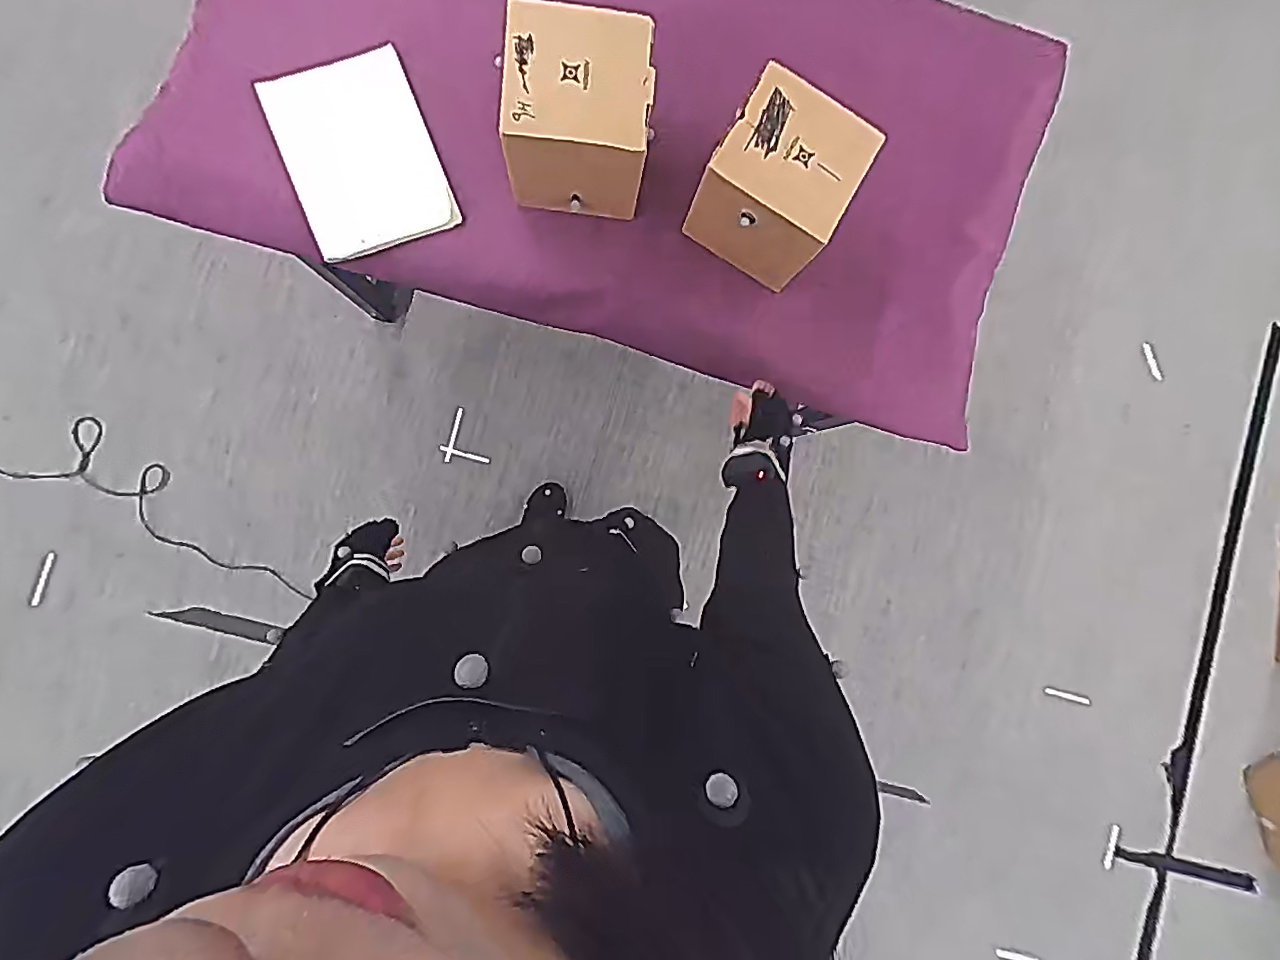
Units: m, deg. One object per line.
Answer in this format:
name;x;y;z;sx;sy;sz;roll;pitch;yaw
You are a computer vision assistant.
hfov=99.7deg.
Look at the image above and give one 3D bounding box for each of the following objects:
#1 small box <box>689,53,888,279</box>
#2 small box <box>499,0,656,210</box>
small box;0.187;-0.408;0.738;0.179;0.176;0.168;31;85;-5
small box;-0.081;-0.482;0.713;0.179;0.176;0.168;4;88;-6
